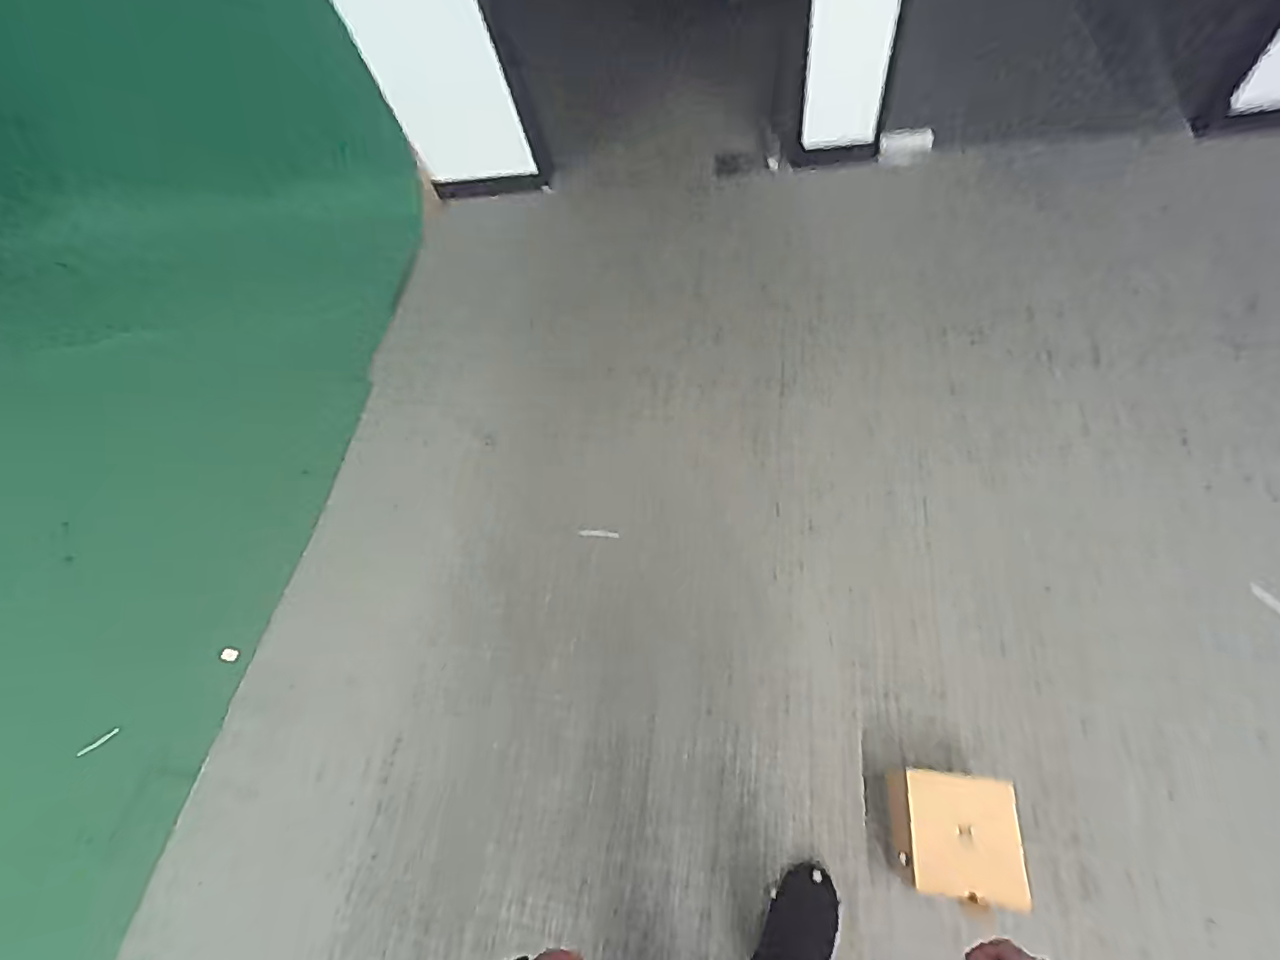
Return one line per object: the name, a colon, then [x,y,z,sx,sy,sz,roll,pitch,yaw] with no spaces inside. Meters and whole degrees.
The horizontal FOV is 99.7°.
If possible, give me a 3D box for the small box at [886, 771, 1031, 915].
small box: [0.538,0.617,0.942,0.168,0.176,0.179,2,63,12]
